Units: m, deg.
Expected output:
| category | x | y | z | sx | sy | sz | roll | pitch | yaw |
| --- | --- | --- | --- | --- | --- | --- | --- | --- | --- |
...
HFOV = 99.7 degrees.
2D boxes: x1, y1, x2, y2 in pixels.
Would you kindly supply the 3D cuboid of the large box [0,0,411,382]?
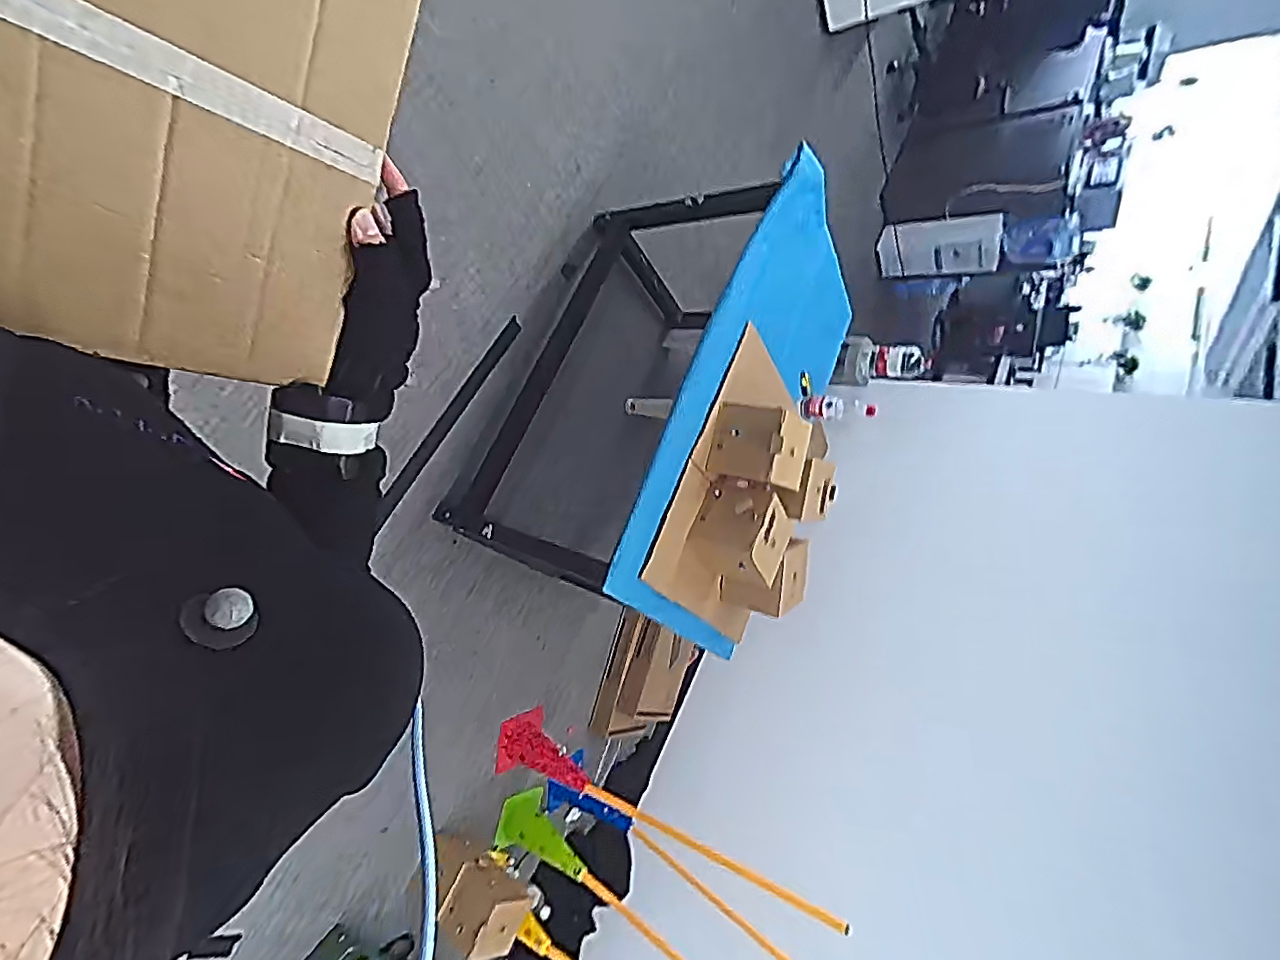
| category | x | y | z | sx | sy | sz | roll | pitch | yaw |
| --- | --- | --- | --- | --- | --- | --- | --- | --- | --- |
| large box | -0.408 | -0.283 | 0.304 | 0.408 | 0.320 | 0.320 | 4 | 117 | -48 |
